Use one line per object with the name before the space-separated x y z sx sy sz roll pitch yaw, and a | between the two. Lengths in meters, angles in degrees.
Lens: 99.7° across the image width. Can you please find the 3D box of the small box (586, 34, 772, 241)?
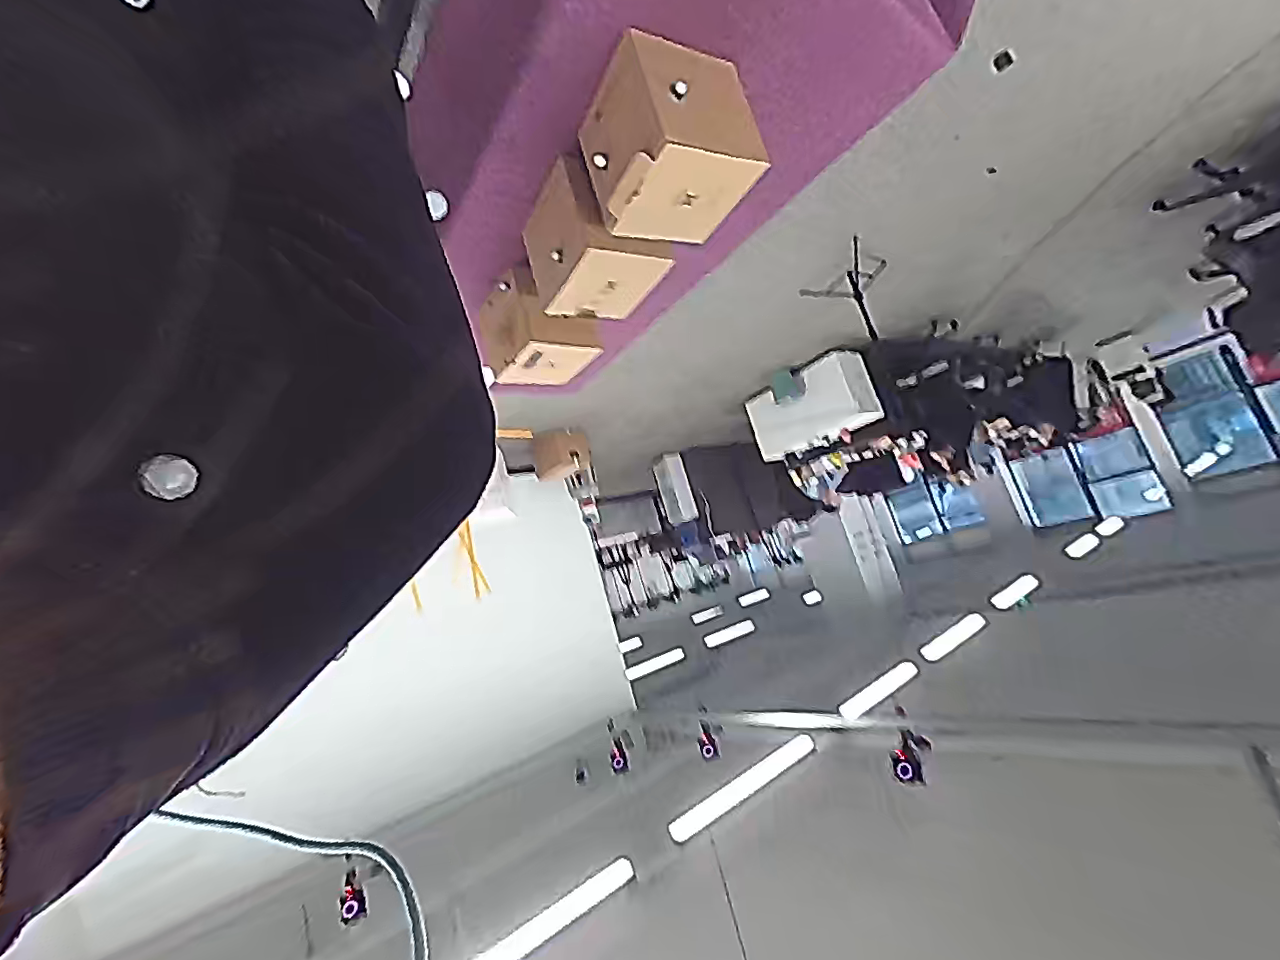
small box | 0.045 -0.465 0.752 0.179 0.176 0.168 -10 169 -32

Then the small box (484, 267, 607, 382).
small box | -0.202 -0.320 1.129 0.179 0.176 0.168 -8 167 -42
